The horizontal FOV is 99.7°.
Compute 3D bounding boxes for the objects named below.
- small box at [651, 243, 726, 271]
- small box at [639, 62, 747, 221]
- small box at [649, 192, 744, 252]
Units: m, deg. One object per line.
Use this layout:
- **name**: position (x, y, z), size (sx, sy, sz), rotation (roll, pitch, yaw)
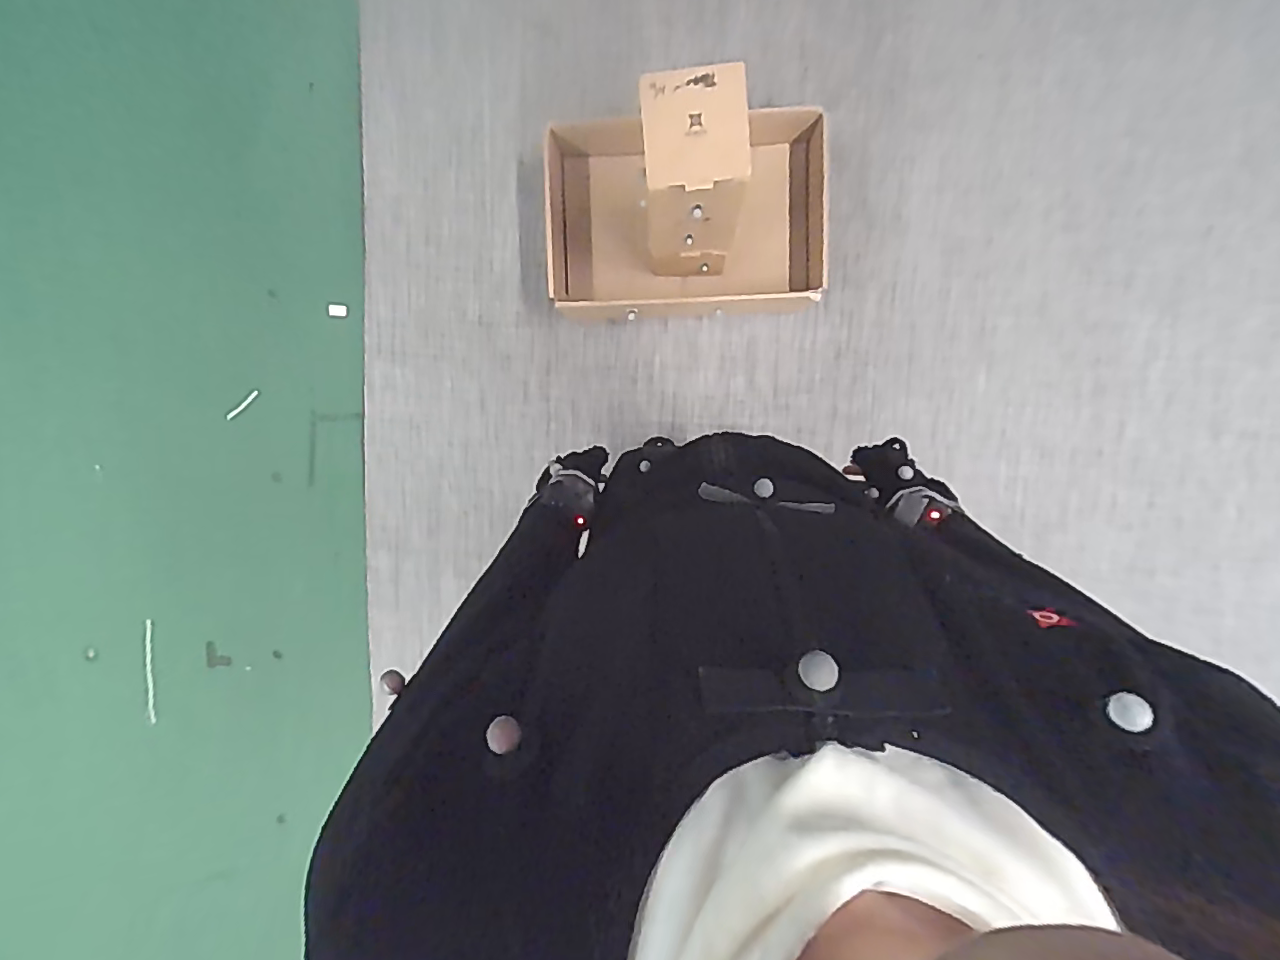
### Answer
- **small box**: position (0.114, -0.592, 1.249), size (0.168, 0.176, 0.179), rotation (0, 94, 3)
- **small box**: position (0.091, -0.561, 0.925), size (0.168, 0.176, 0.179), rotation (-4, 96, 4)
- **small box**: position (0.106, -0.574, 1.087), size (0.179, 0.176, 0.168), rotation (-5, 96, 3)
